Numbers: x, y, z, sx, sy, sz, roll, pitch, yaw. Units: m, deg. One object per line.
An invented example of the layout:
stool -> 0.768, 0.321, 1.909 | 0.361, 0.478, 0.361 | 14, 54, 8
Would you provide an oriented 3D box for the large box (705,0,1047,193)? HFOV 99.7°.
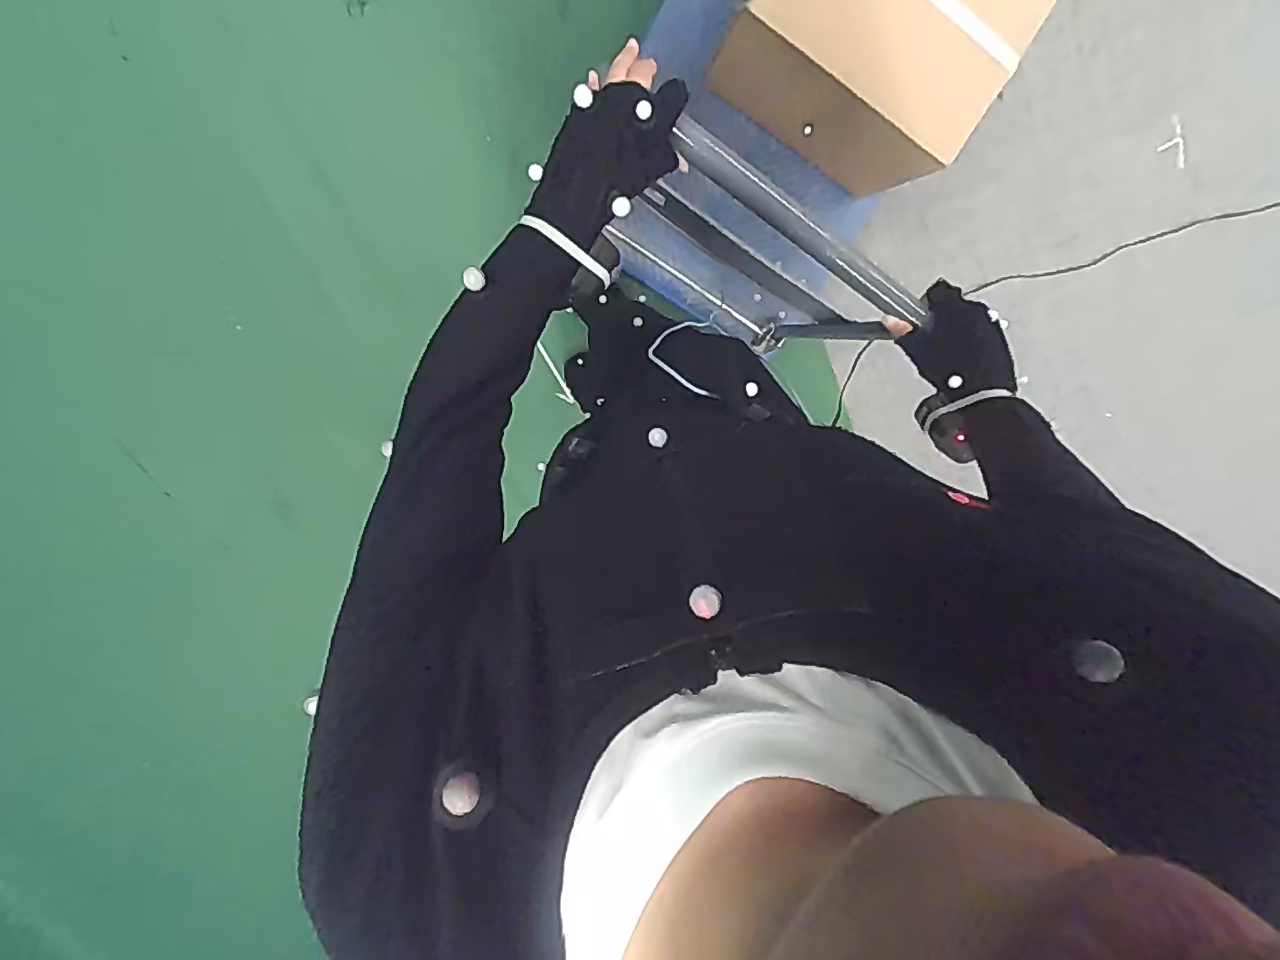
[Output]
large box -> 0.377, -0.767, 0.928 | 0.408, 0.320, 0.320 | 28, 104, -12
